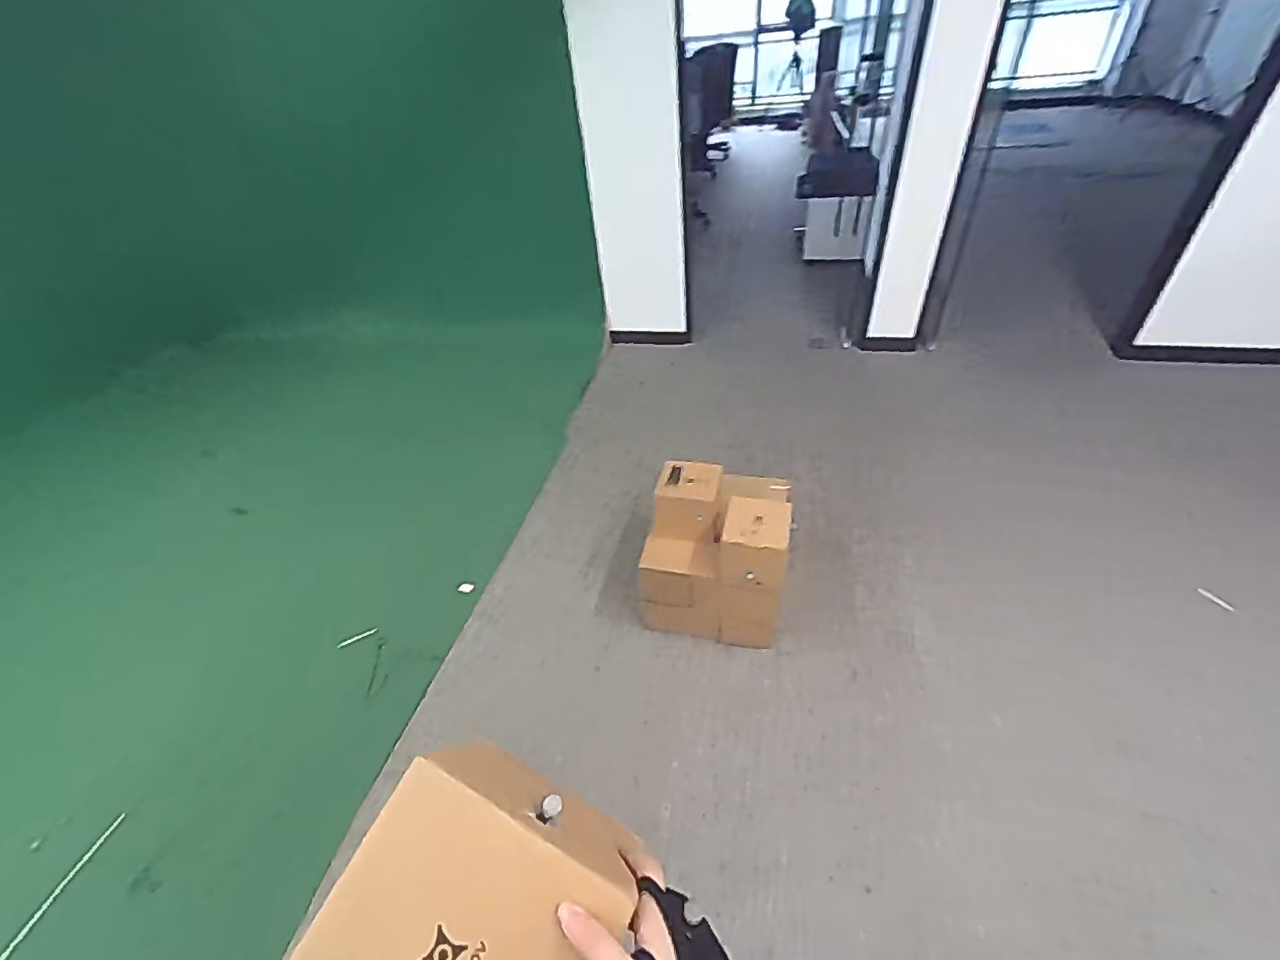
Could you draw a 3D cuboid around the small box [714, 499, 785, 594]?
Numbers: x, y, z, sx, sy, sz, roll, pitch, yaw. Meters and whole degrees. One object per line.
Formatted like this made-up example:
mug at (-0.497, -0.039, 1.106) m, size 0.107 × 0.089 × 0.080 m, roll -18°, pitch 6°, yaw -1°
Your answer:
small box at (0.296, 0.180, 1.468) m, size 0.168 × 0.176 × 0.179 m, roll 7°, pitch 42°, yaw 14°
